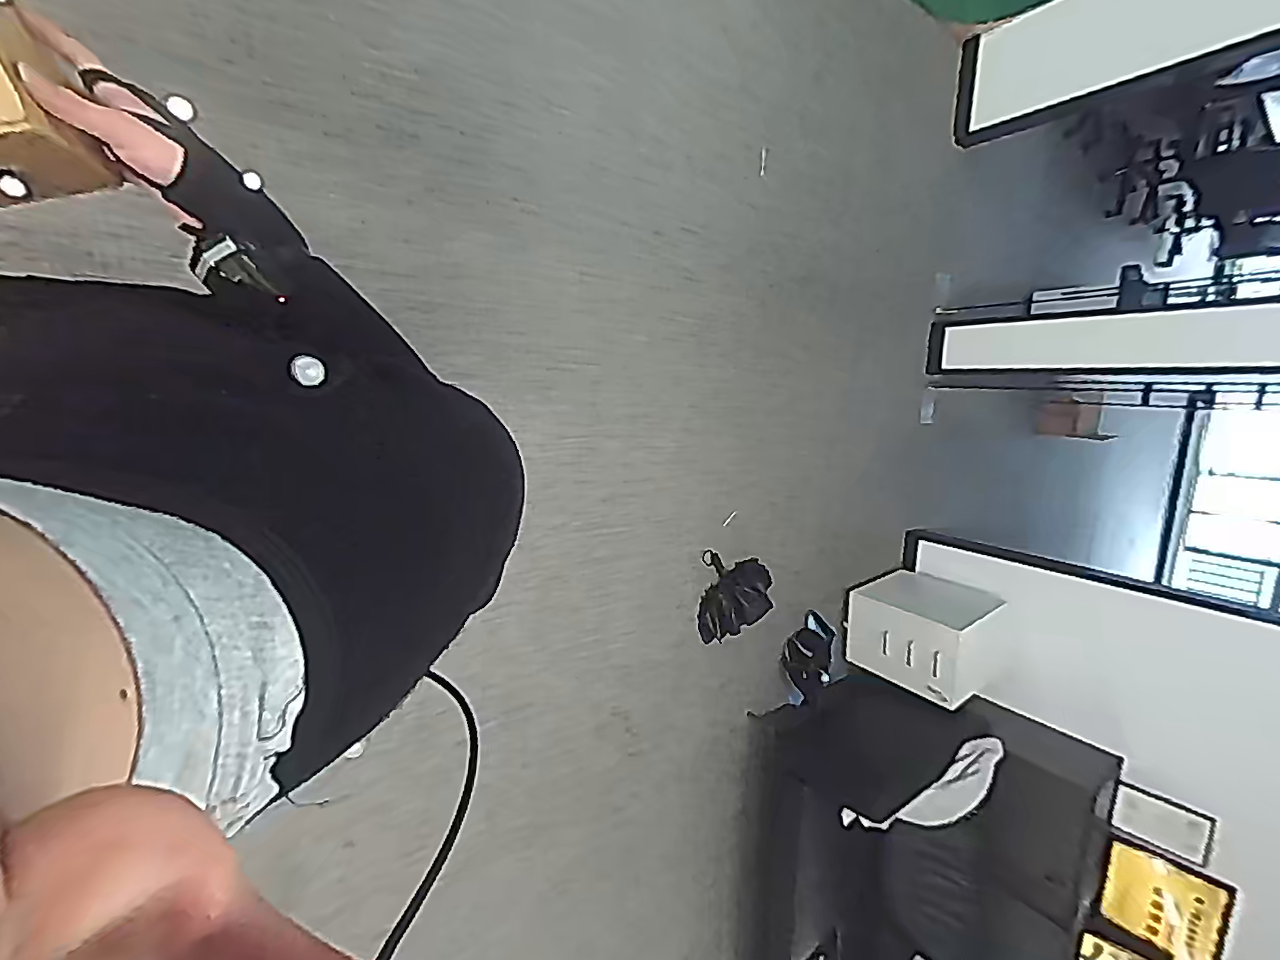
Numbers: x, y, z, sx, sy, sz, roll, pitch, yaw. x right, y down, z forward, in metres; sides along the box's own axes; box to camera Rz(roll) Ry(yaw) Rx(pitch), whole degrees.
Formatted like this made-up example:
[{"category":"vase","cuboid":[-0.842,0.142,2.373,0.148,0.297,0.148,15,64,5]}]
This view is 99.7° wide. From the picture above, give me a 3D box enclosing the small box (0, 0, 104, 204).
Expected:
[{"category":"small box","cuboid":[-0.488,-0.267,0.323,0.168,0.176,0.179,-25,114,-22]}]
